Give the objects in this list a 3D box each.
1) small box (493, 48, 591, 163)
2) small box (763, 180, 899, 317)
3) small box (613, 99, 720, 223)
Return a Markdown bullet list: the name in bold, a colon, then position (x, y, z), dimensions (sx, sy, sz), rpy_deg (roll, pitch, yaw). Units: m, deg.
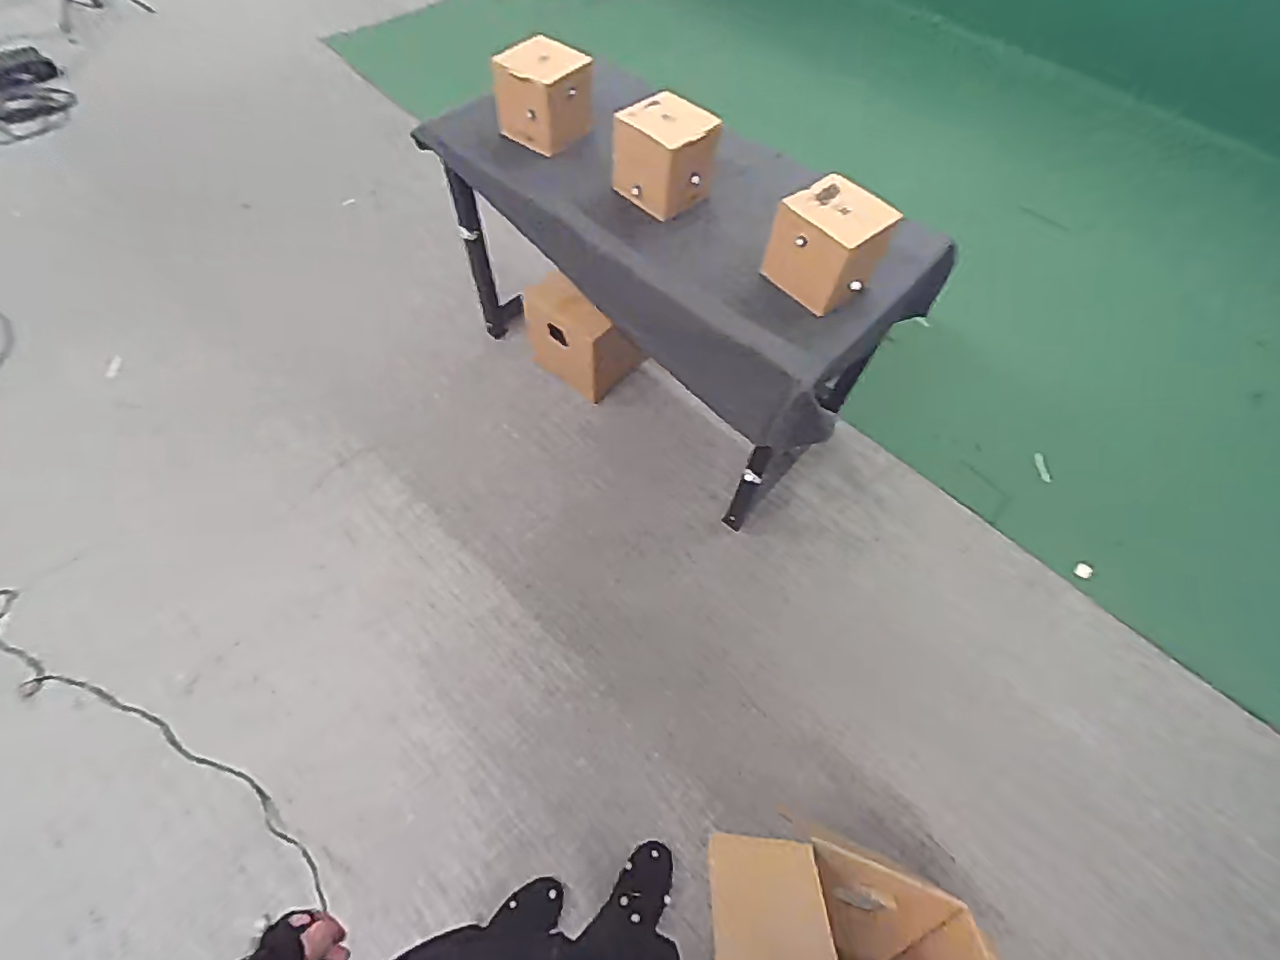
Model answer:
- **small box**: position (-0.236, -0.927, 1.346), dimensions (0.168, 0.176, 0.179), rpy_deg (33, 61, 13)
- **small box**: position (0.380, -0.472, 1.111), dimensions (0.168, 0.176, 0.179), rpy_deg (-36, 68, -21)
- **small box**: position (0.055, -0.724, 1.243), dimensions (0.168, 0.176, 0.179), rpy_deg (-40, 70, -23)
